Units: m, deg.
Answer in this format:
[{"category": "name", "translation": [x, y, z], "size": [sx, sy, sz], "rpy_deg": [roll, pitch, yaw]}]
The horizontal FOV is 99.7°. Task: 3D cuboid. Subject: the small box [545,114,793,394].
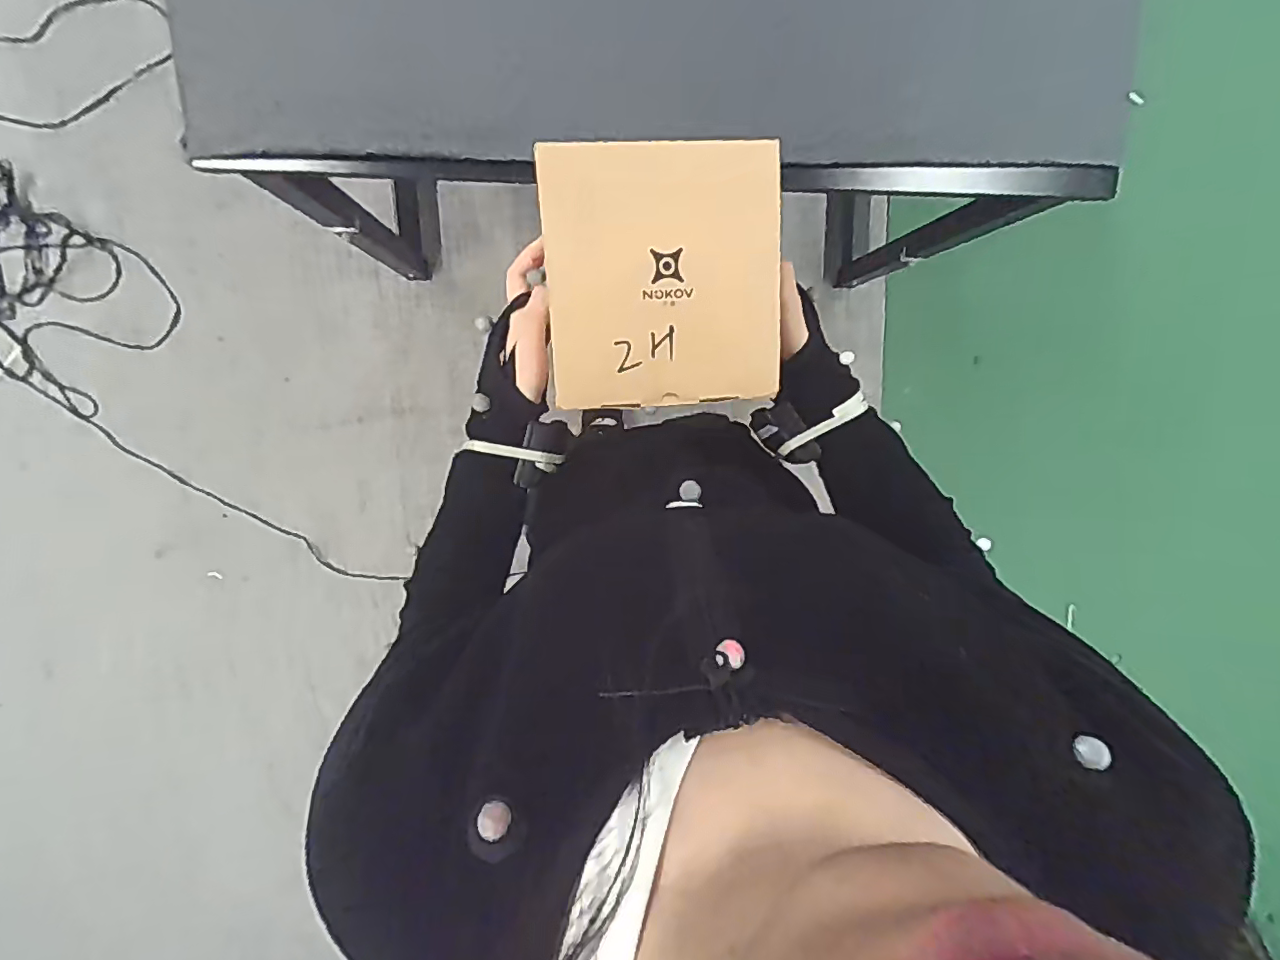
[{"category": "small box", "translation": [0.013, -0.161, 0.438], "size": [0.168, 0.176, 0.179], "rpy_deg": [-4, 101, -6]}]
